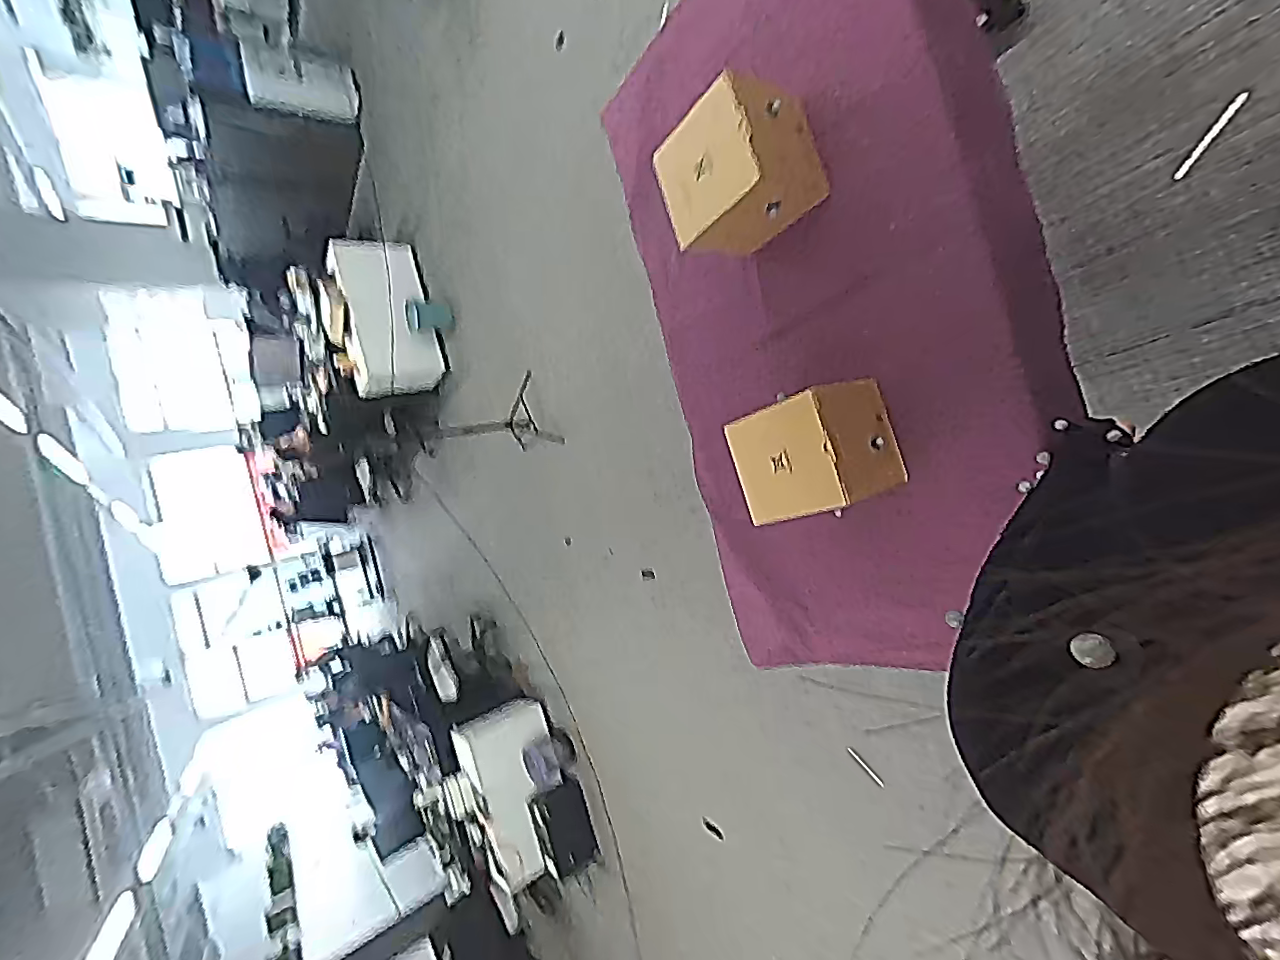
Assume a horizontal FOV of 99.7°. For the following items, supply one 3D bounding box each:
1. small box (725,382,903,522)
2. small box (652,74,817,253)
[{"bbox_3d":[0.269,-0.043,0.842,0.179,0.176,0.168,-22,83,52],"label":"small box"},{"bbox_3d":[0.153,-0.477,0.846,0.179,0.176,0.168,-21,84,54],"label":"small box"}]
